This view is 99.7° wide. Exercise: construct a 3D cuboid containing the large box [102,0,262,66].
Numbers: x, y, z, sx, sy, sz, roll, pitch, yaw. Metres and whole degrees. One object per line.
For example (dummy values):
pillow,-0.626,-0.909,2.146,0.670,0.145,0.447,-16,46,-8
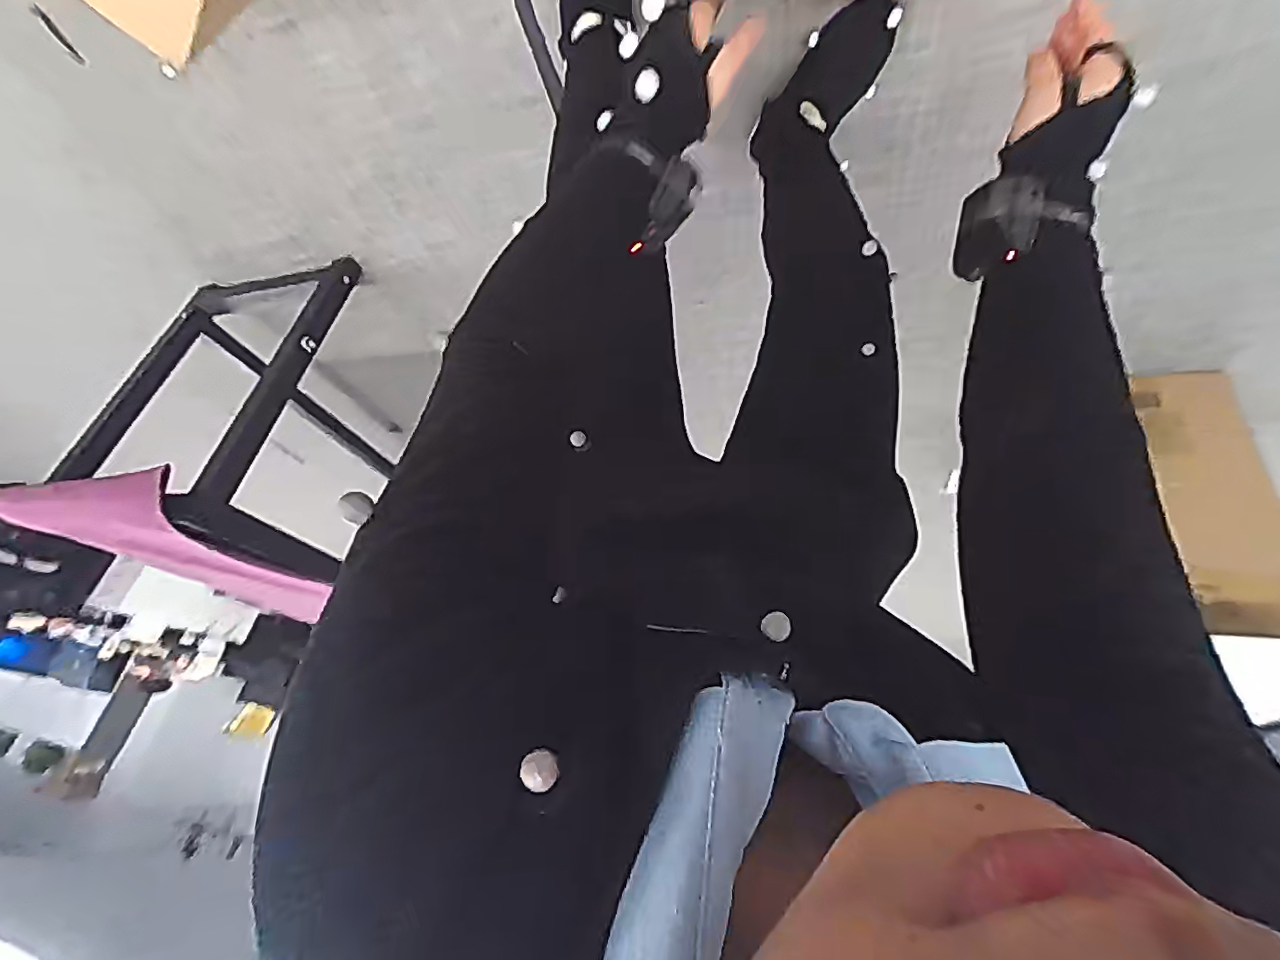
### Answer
large box,-0.513,-0.775,0.548,0.408,0.320,0.320,-16,141,42
